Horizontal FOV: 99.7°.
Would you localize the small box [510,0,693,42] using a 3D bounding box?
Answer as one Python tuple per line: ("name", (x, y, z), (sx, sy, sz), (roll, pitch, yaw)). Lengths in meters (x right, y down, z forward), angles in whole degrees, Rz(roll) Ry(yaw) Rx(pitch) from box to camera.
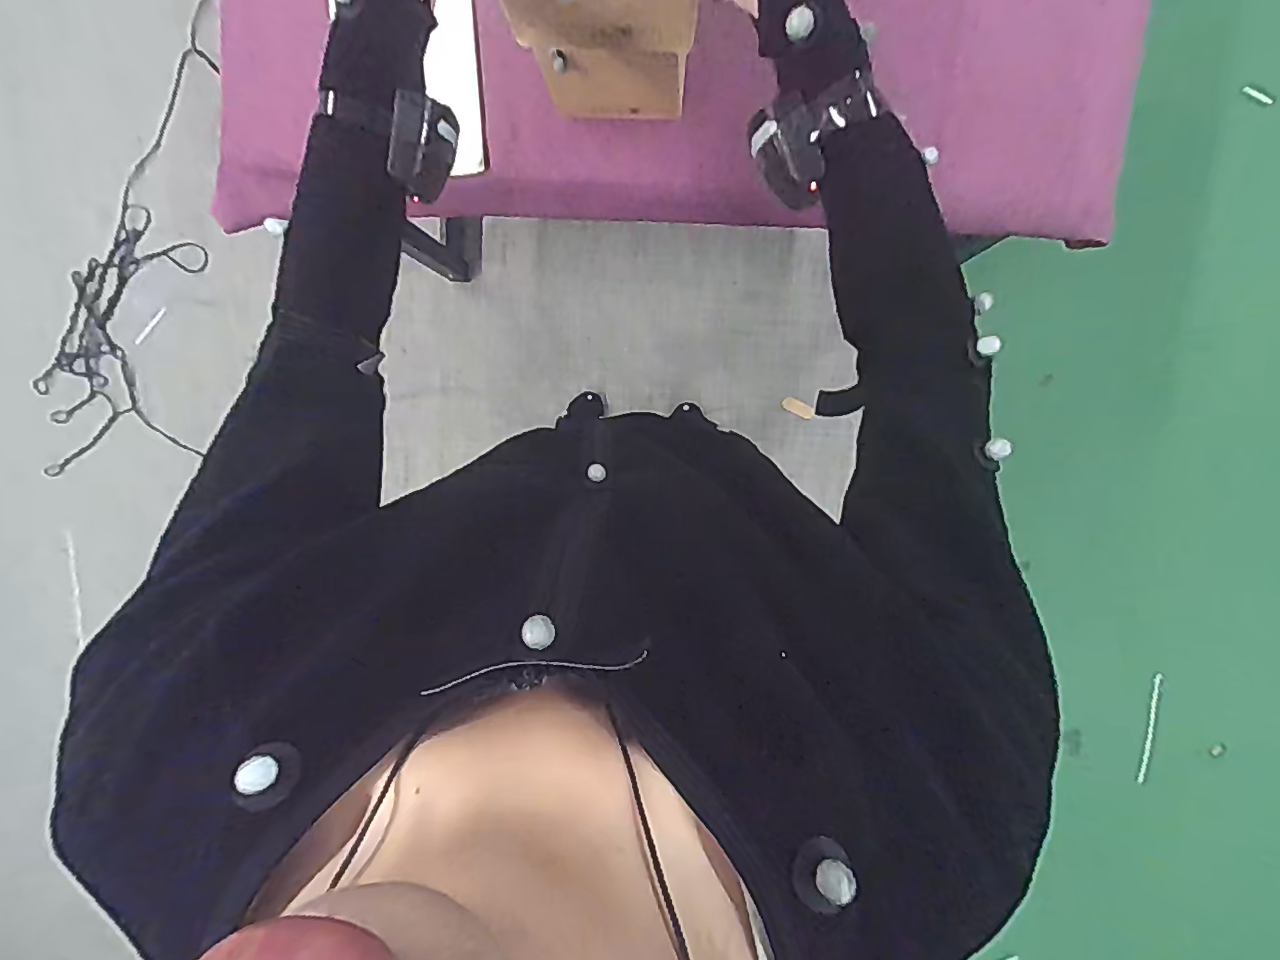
("small box", (-0.033, -0.486, 0.421), (0.168, 0.176, 0.179), (4, 100, 1))
